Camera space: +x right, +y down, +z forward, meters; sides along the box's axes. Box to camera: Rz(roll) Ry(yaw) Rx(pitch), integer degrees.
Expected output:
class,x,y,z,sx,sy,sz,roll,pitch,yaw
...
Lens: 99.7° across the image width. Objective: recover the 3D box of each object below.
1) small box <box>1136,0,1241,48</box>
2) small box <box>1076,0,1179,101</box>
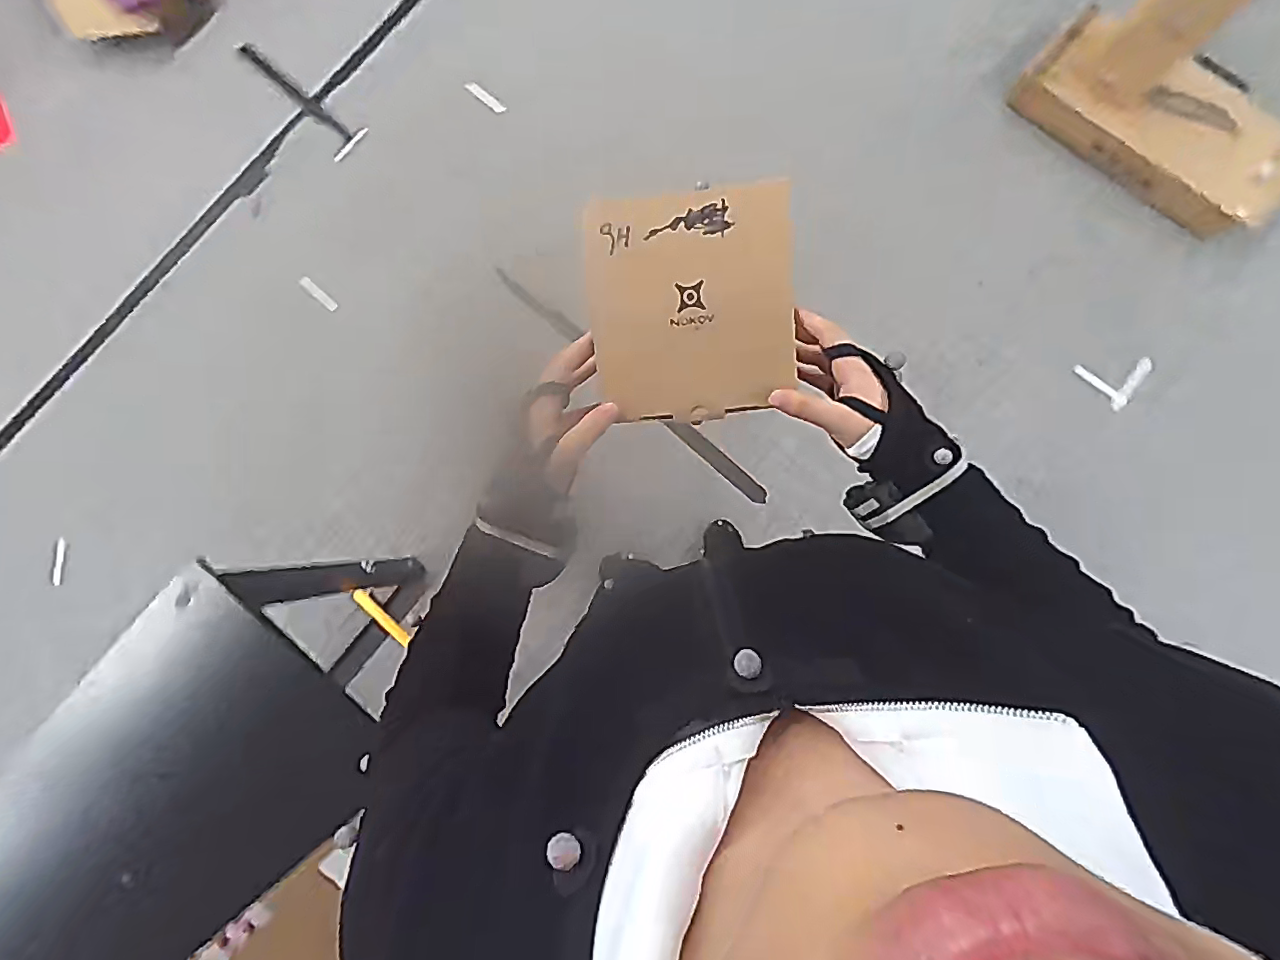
class,x,y,z,sx,sy,sz,roll,pitch,yaw
small box,1.314,-1.163,1.240,0.168,0.176,0.179,41,87,6
small box,1.301,-1.153,1.406,0.168,0.176,0.179,39,87,6
